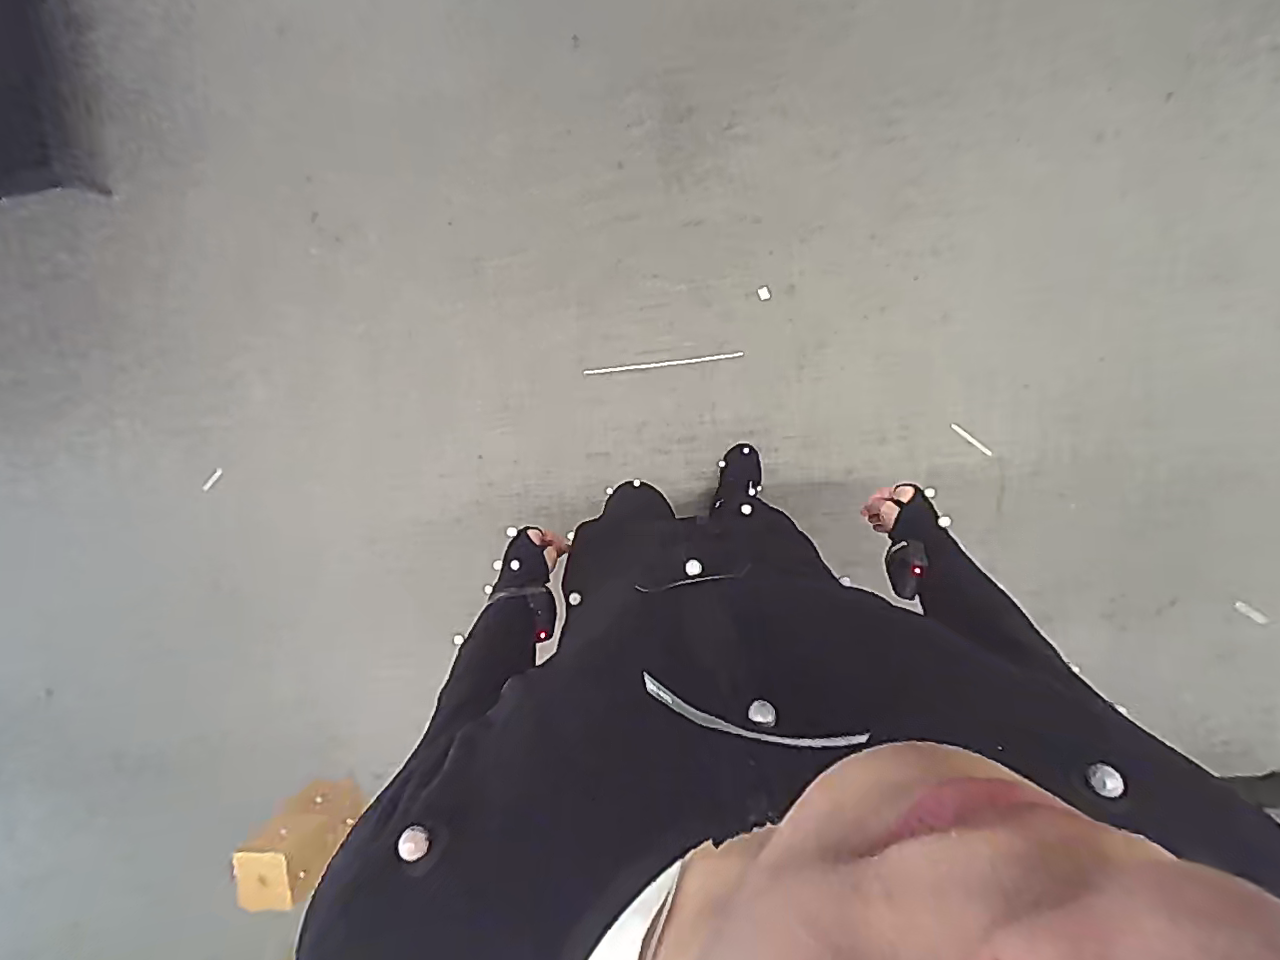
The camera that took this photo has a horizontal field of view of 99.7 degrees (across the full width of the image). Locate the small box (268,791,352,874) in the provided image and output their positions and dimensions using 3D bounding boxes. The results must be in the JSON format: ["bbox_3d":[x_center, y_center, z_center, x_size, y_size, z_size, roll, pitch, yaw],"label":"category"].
[{"bbox_3d":[-1.062,1.138,1.755,0.179,0.176,0.168,-3,92,6],"label":"small box"}]

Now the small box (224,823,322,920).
[{"bbox_3d":[-1.074,1.144,1.592,0.168,0.176,0.179,-5,94,7],"label":"small box"}]
